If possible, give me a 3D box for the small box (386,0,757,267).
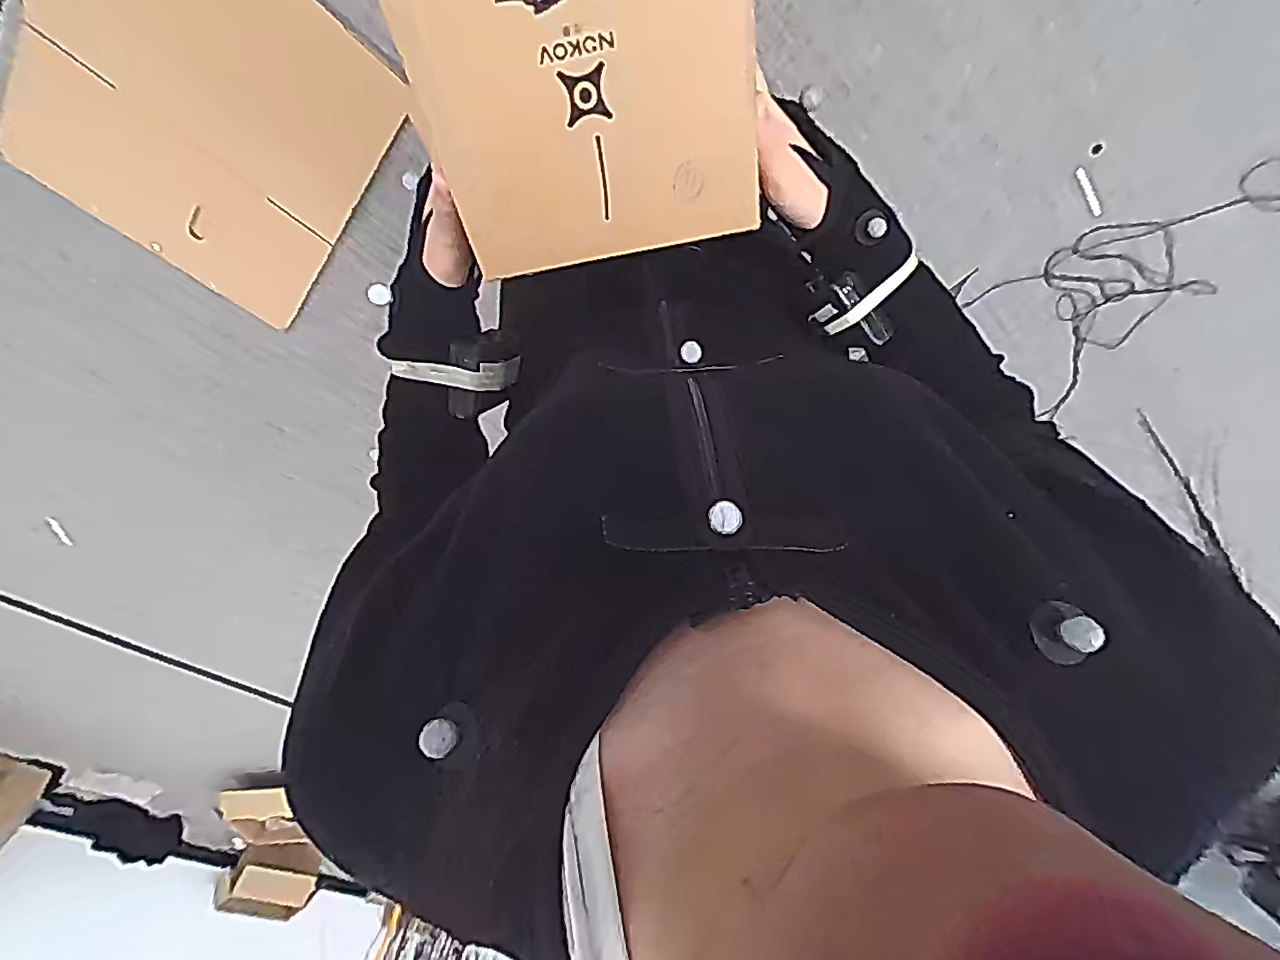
[{"bbox_3d":[-0.032,-0.252,0.316,0.168,0.176,0.179,-9,131,5],"label":"small box"}]
